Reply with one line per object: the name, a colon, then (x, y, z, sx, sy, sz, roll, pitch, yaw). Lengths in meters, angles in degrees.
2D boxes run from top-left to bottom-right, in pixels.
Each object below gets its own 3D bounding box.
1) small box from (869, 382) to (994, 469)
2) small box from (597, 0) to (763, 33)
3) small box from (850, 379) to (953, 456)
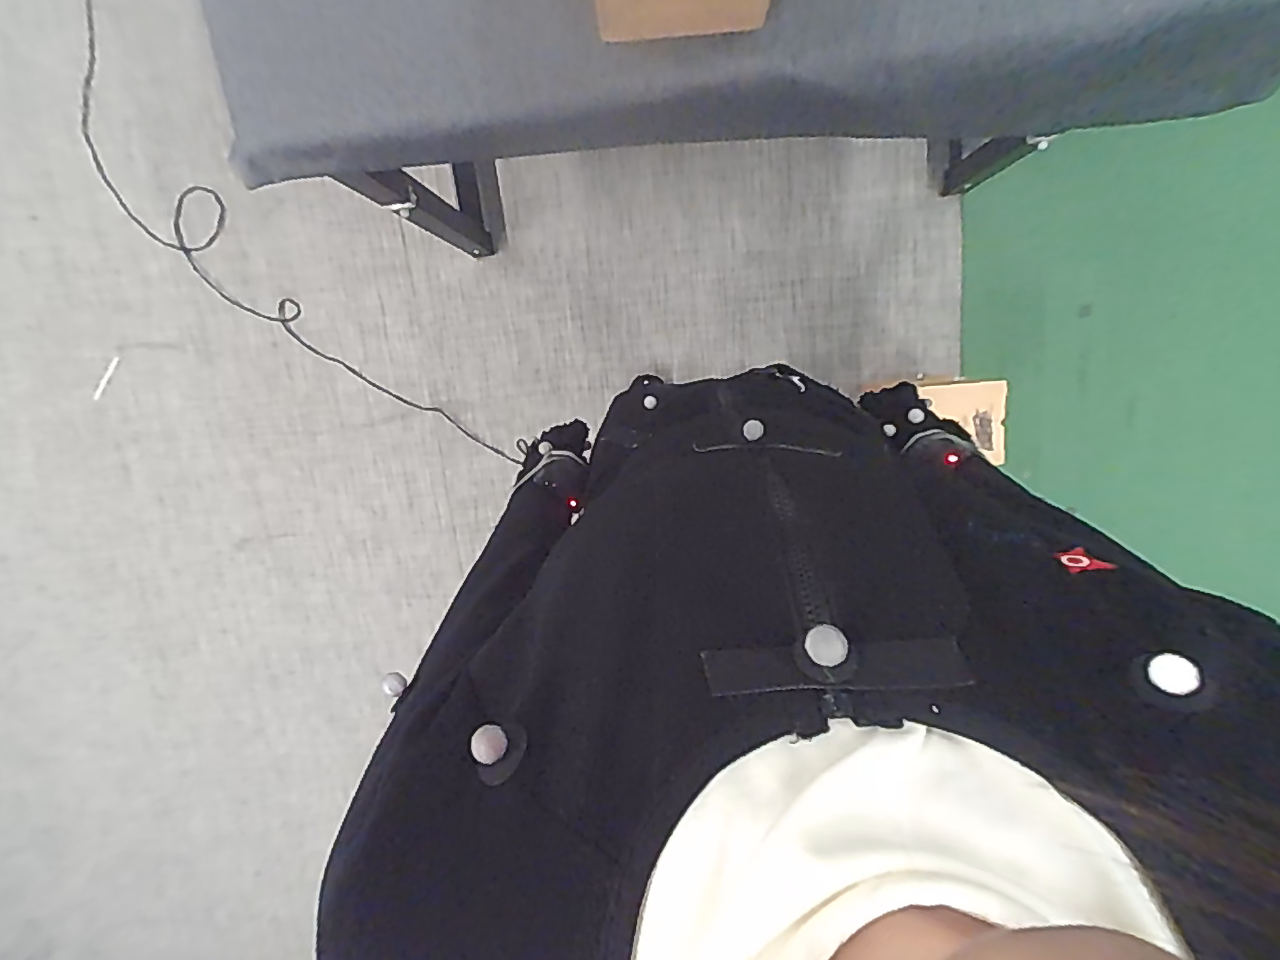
small box: (0.603, -0.119, 1.138, 0.179, 0.176, 0.168, -3, 100, 4)
small box: (0.038, -0.552, 0.494, 0.179, 0.176, 0.168, -2, 101, 3)
small box: (0.621, -0.153, 1.298, 0.179, 0.176, 0.168, -5, 100, 5)
